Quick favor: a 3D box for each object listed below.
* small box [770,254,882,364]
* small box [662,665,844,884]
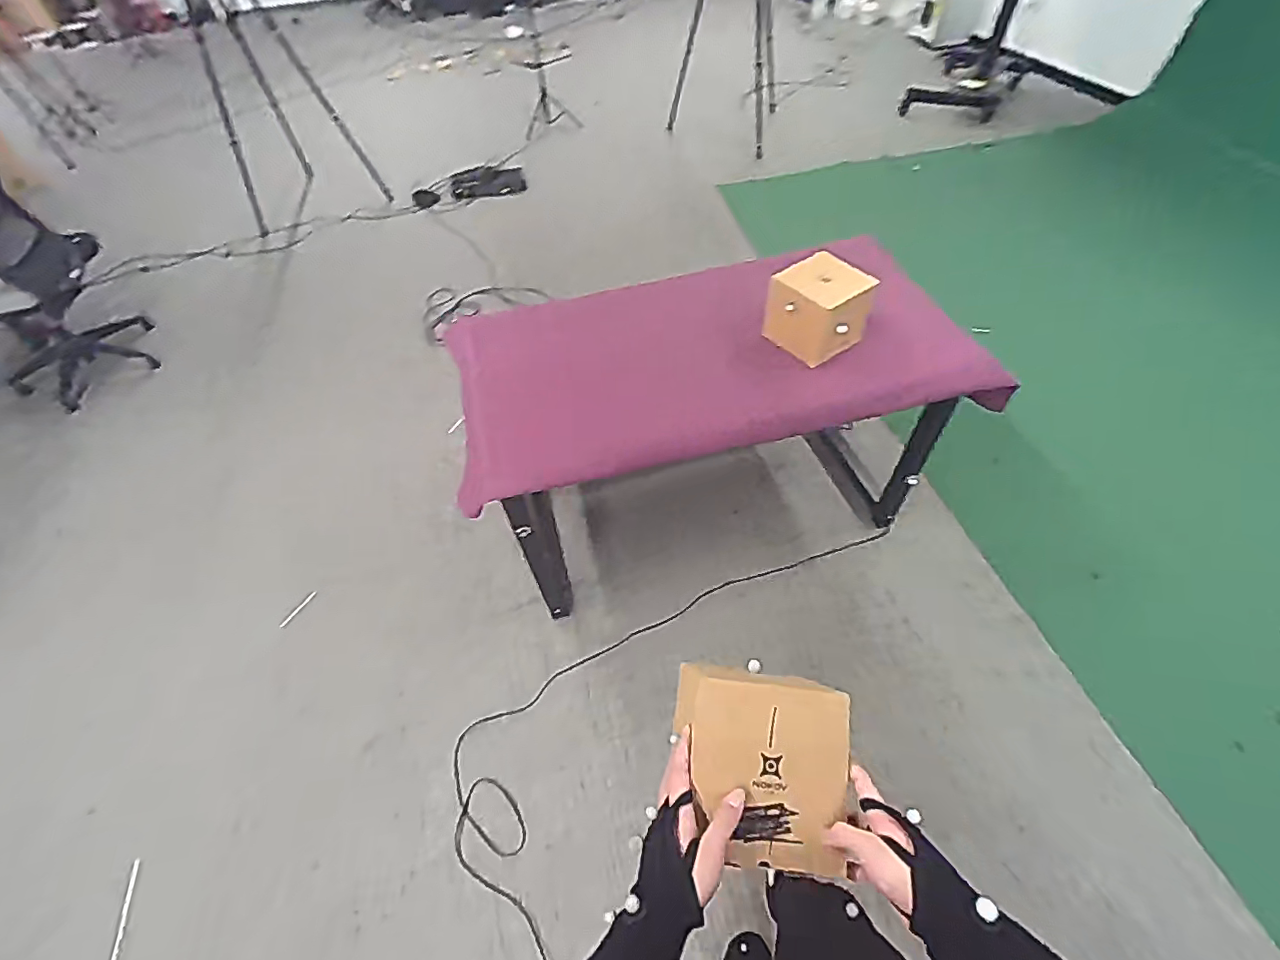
[{"bbox_3d":[0.433,-0.400,1.286,0.168,0.176,0.179,-31,56,-18],"label":"small box"},{"bbox_3d":[0.120,0.321,0.626,0.168,0.176,0.179,8,75,-1],"label":"small box"}]
